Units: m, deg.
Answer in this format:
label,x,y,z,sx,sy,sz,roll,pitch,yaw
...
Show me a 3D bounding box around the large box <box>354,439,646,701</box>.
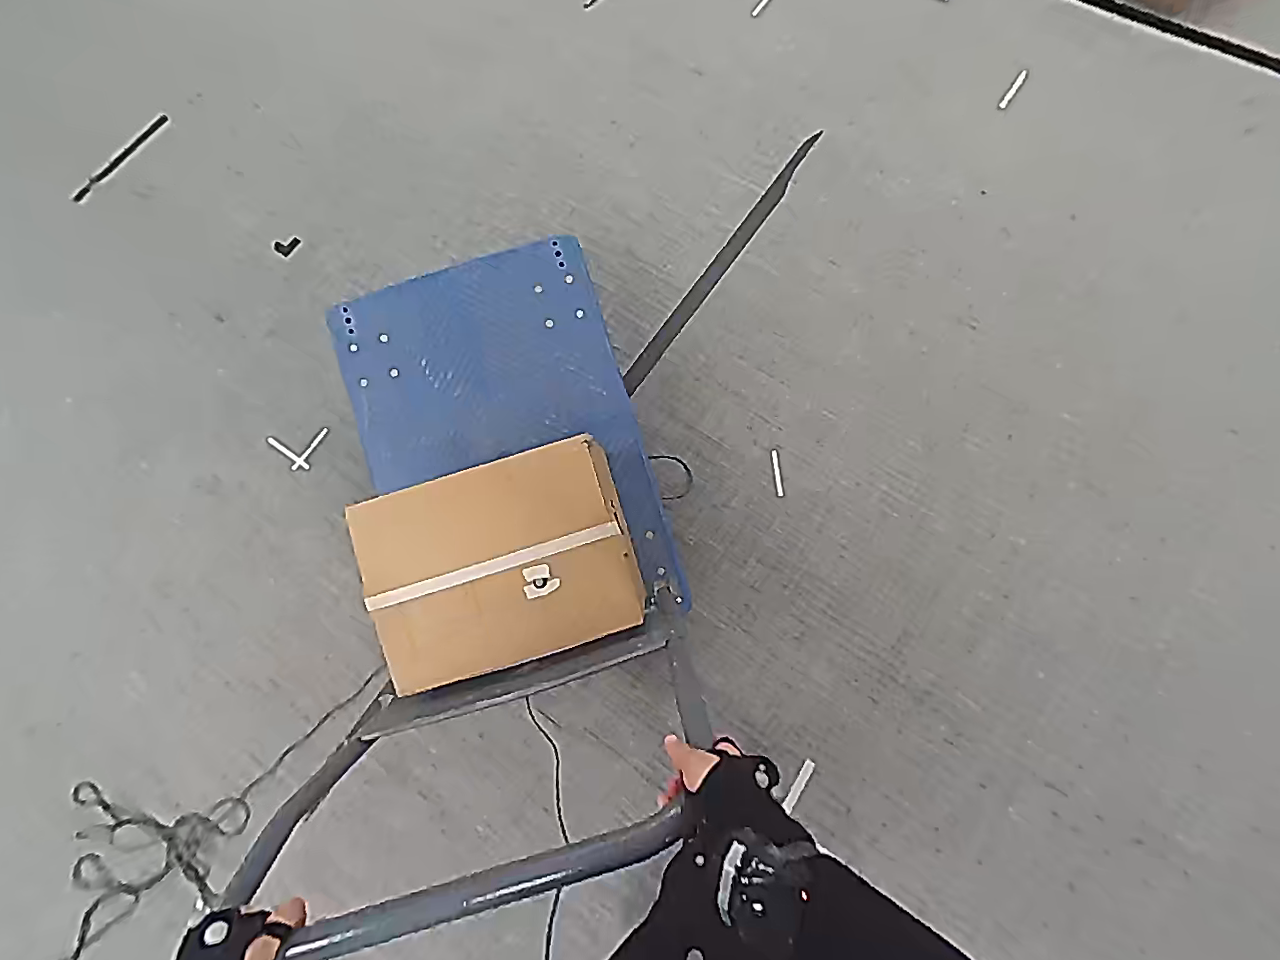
label,x,y,z,sx,sy,sz,roll,pitch,yaw
large box,-0.224,0.150,1.003,0.408,0.320,0.320,-18,87,-1
